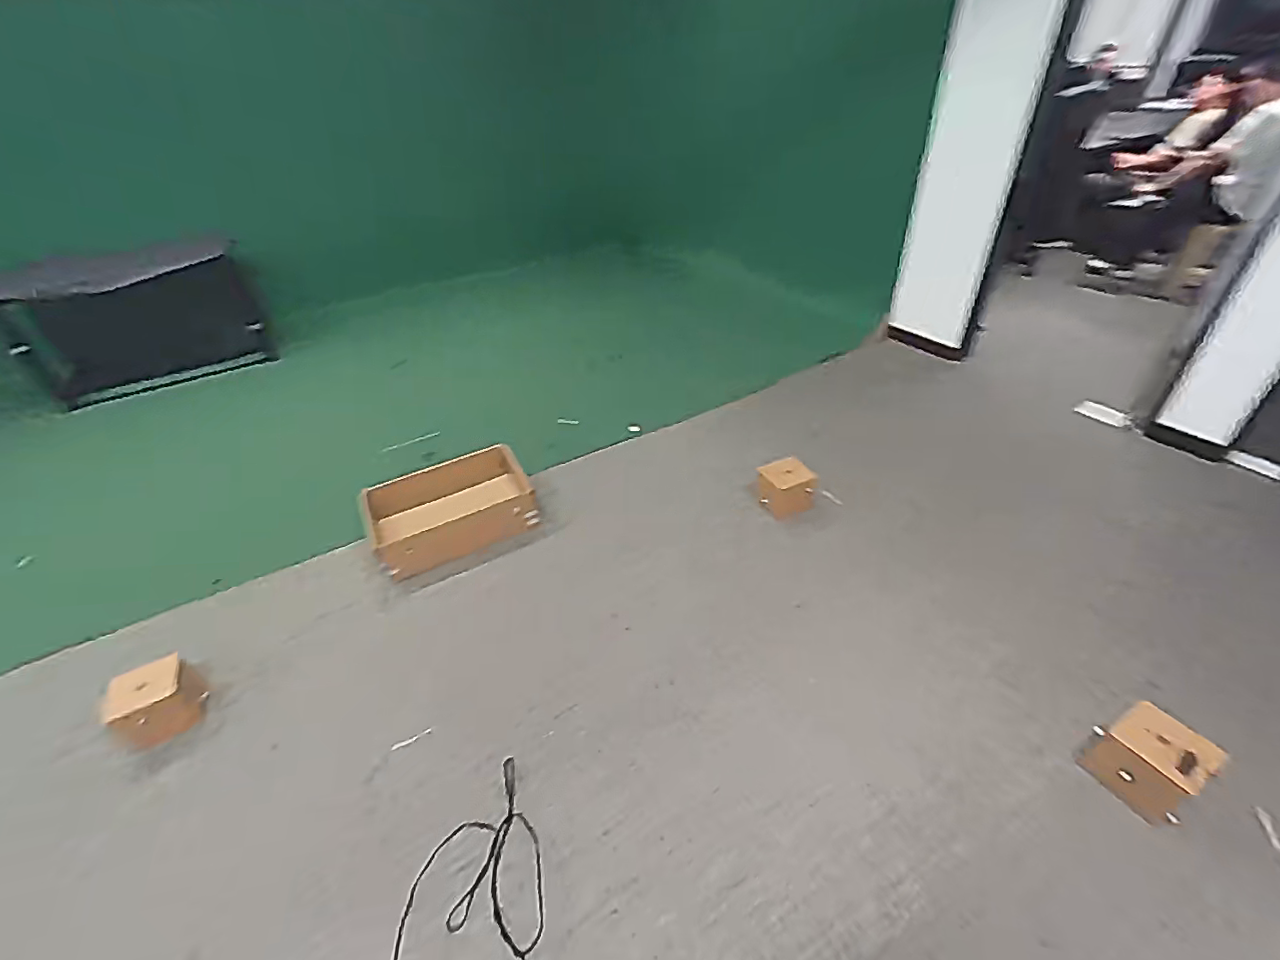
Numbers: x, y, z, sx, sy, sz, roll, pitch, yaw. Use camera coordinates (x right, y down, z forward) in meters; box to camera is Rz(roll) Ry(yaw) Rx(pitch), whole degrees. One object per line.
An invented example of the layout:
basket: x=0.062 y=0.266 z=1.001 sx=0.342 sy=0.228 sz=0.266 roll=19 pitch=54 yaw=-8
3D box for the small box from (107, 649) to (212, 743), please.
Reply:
small box: x=-1.442 y=0.656 z=1.634 sx=0.179 sy=0.176 sz=0.168 roll=-22 pitch=43 yaw=-22

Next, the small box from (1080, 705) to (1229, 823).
small box: x=1.235 y=0.693 z=1.311 sx=0.168 sy=0.176 sz=0.179 roll=-21 pitch=41 yaw=-20

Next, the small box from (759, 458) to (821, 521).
small box: x=0.603 y=0.040 z=2.199 sx=0.179 sy=0.176 sz=0.168 roll=-18 pitch=40 yaw=-16
